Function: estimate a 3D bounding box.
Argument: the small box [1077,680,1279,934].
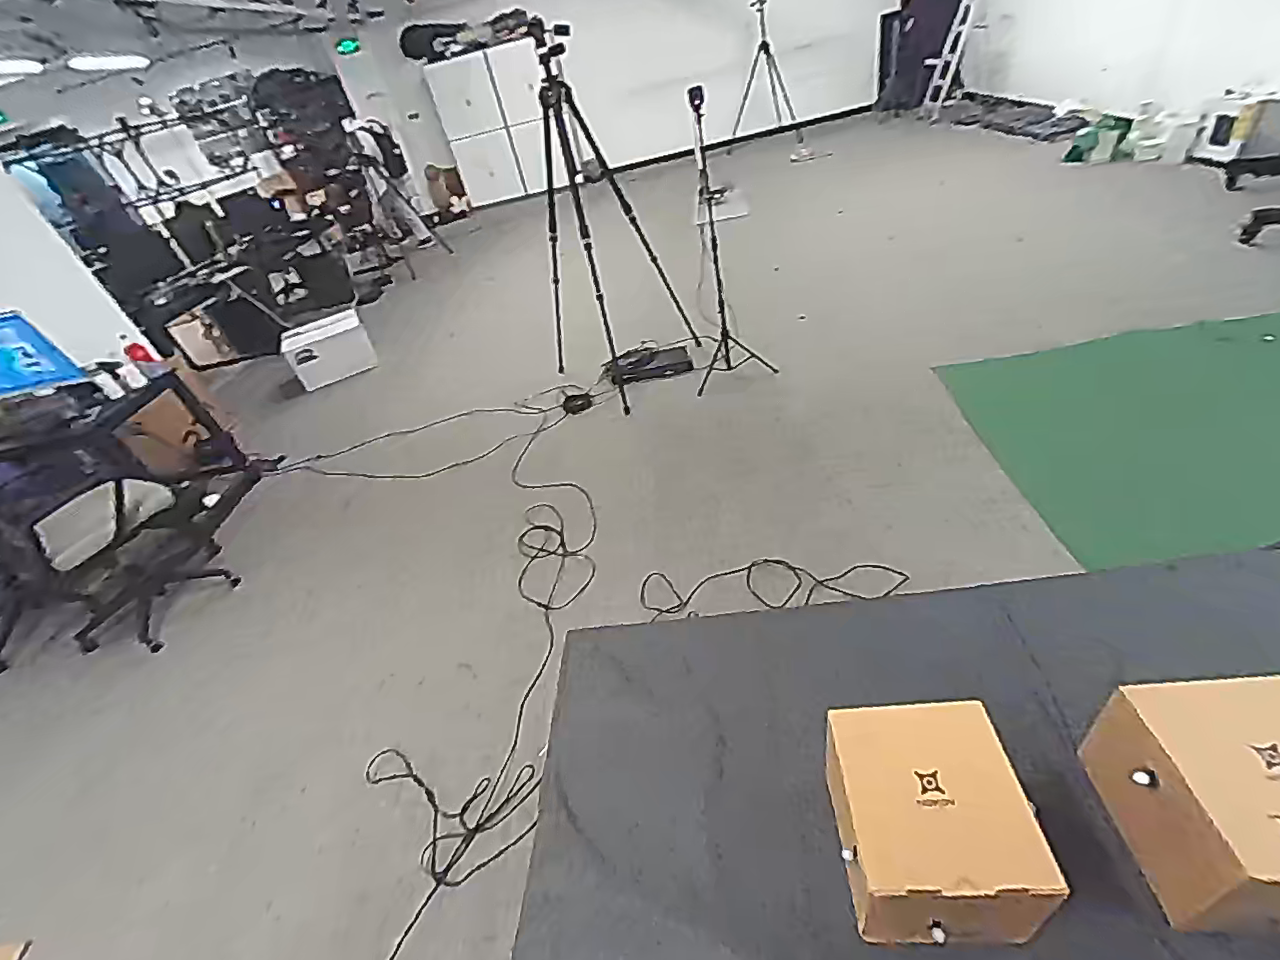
[{"bbox_3d":[0.598,0.329,0.550,0.168,0.176,0.179,-7,39,9],"label":"small box"}]

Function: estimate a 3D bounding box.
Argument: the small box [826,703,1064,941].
[{"bbox_3d":[0.306,0.372,0.593,0.168,0.176,0.179,-7,39,8],"label":"small box"}]
